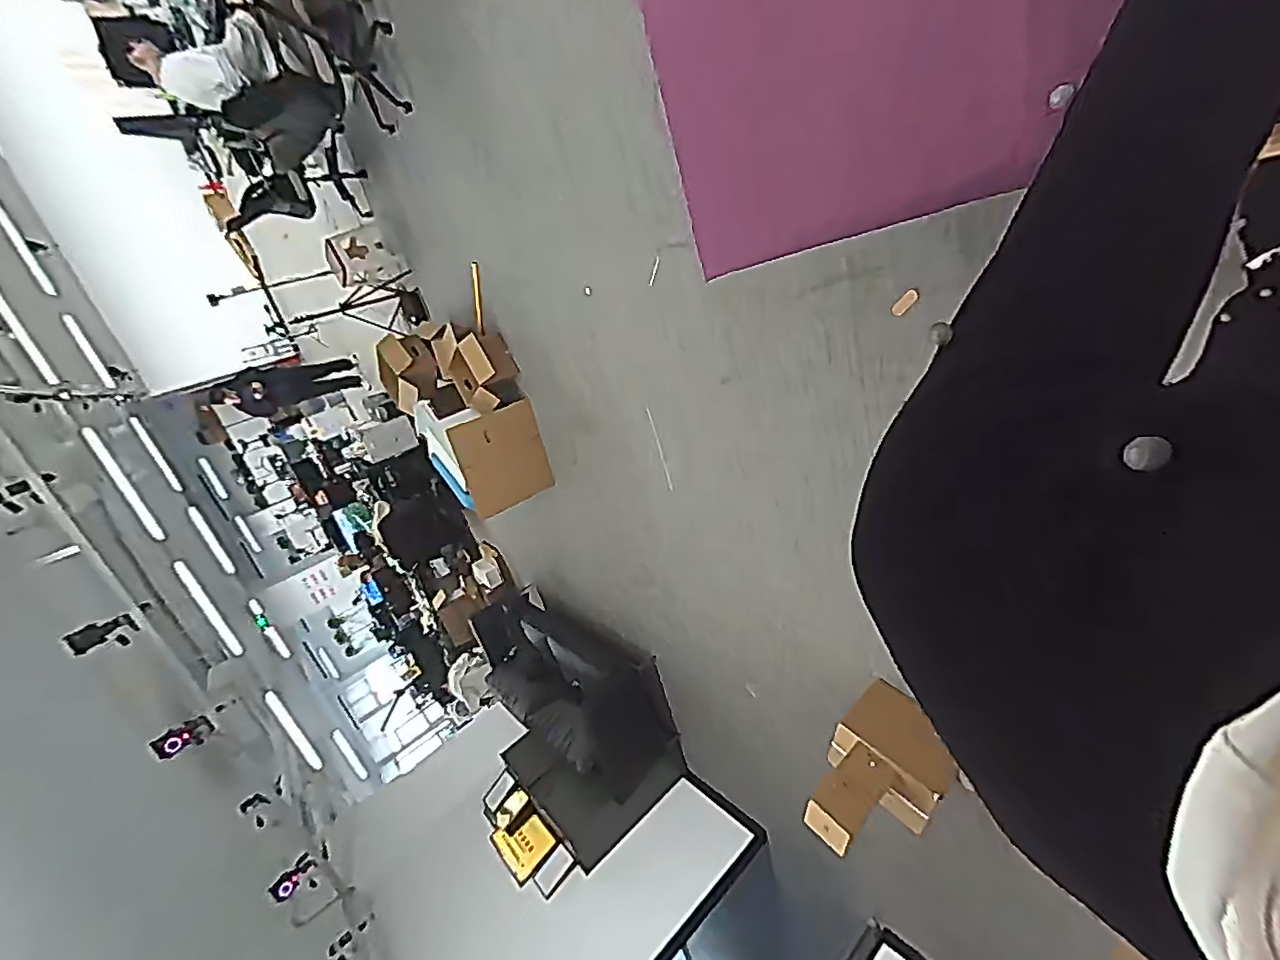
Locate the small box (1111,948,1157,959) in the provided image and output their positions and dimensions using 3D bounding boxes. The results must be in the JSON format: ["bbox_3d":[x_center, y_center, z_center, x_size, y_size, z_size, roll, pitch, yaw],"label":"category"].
[{"bbox_3d":[1.247,1.277,1.285,0.168,0.176,0.179,58,148,3],"label":"small box"}]

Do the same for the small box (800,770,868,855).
[{"bbox_3d":[0.719,1.222,1.999,0.168,0.176,0.179,32,138,39],"label":"small box"}]

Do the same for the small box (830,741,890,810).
[{"bbox_3d":[0.839,1.159,2.090,0.168,0.176,0.179,33,138,37],"label":"small box"}]
